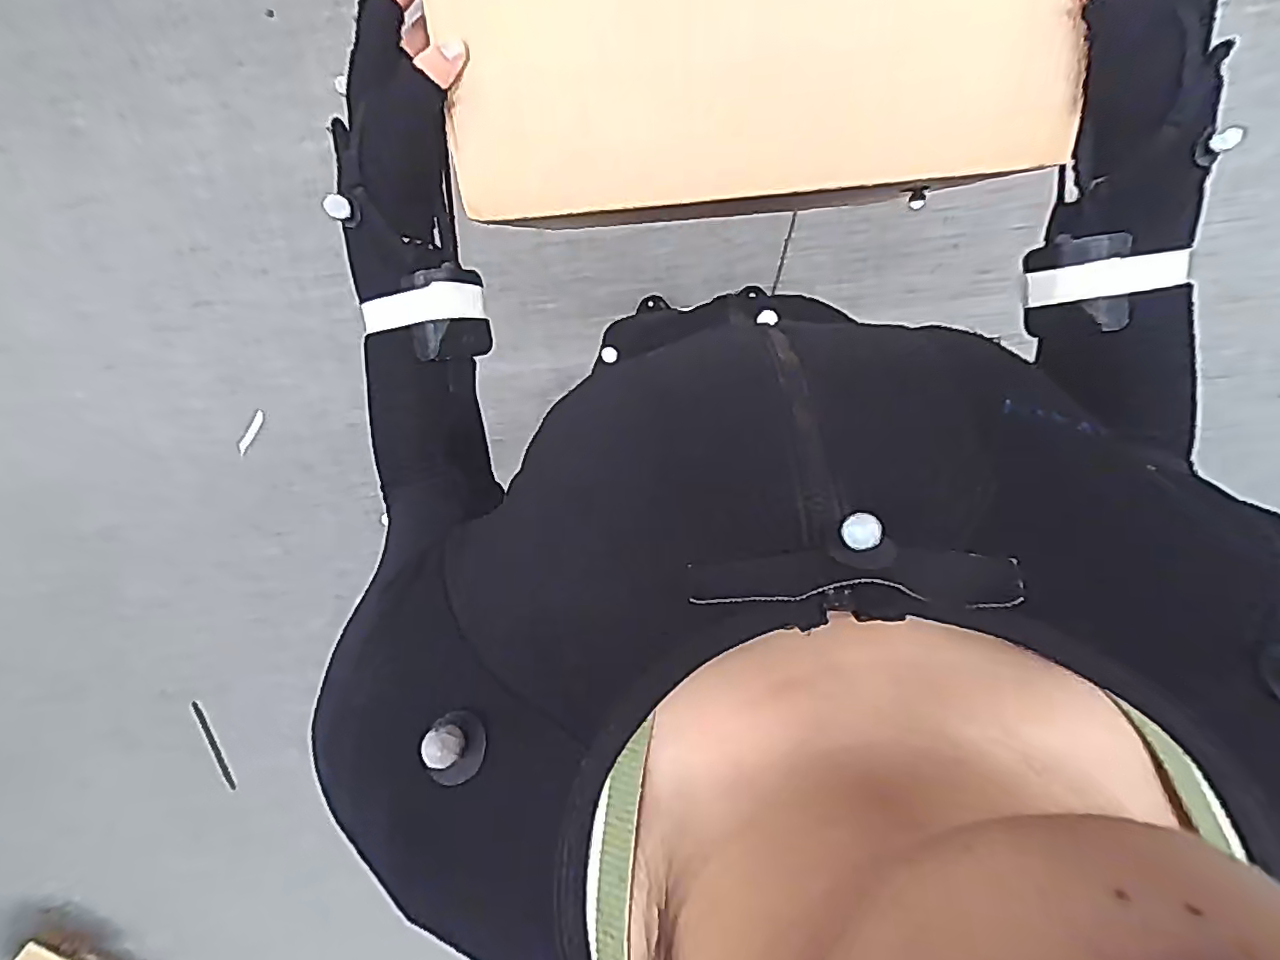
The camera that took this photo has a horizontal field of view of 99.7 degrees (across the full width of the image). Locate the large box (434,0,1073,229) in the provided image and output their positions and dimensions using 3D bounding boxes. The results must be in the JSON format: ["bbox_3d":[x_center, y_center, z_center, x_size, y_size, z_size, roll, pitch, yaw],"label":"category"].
[{"bbox_3d":[0.070,-0.398,0.454,0.408,0.320,0.320,-4,113,3],"label":"large box"}]
